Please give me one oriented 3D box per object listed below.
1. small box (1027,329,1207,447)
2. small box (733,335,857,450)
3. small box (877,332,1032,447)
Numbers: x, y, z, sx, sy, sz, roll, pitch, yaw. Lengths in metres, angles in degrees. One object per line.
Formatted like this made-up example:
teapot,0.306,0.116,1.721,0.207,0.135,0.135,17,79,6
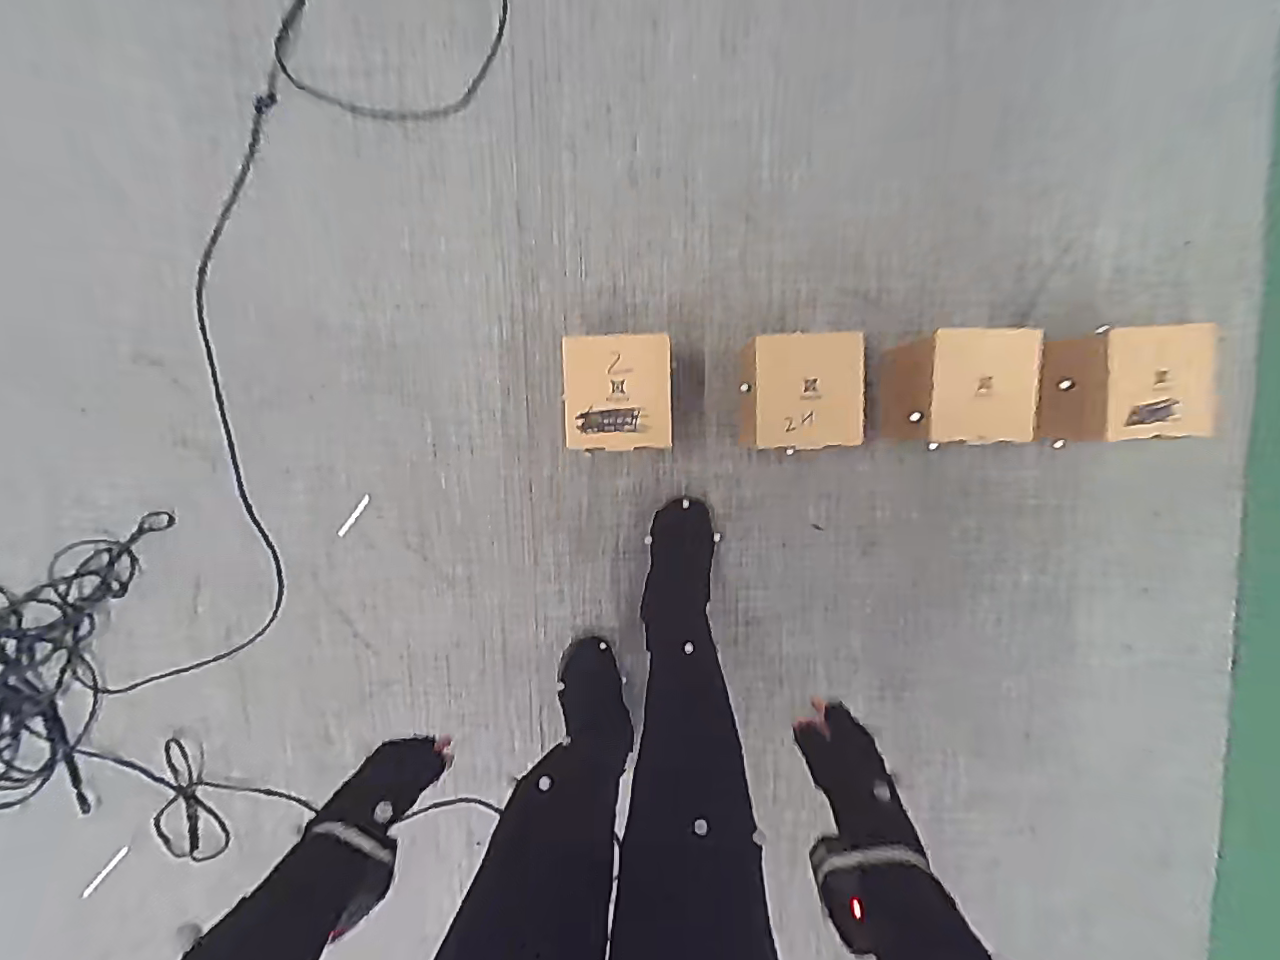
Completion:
small box,0.789,-0.150,0.916,0.168,0.176,0.179,-3,95,0
small box,0.252,-0.140,0.913,0.168,0.176,0.179,-1,95,1
small box,0.521,-0.146,0.916,0.168,0.176,0.179,0,95,0
